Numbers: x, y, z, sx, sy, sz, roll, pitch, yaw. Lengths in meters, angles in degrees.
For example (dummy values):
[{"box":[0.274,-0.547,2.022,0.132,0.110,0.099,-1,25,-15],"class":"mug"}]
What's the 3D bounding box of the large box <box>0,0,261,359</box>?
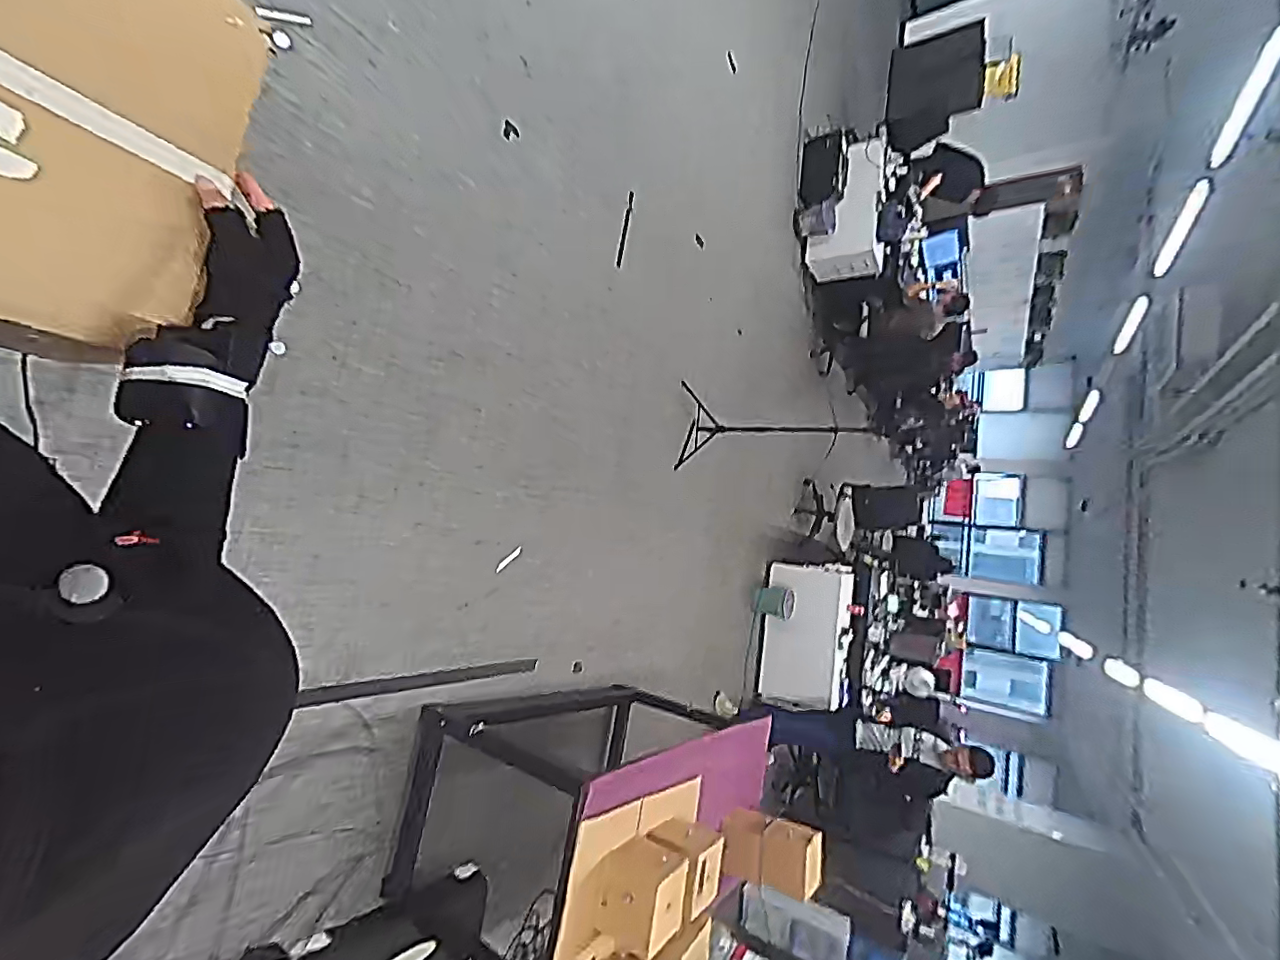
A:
[{"box":[-0.588,-0.297,0.375,0.408,0.320,0.320,18,82,-59],"class":"large box"}]
